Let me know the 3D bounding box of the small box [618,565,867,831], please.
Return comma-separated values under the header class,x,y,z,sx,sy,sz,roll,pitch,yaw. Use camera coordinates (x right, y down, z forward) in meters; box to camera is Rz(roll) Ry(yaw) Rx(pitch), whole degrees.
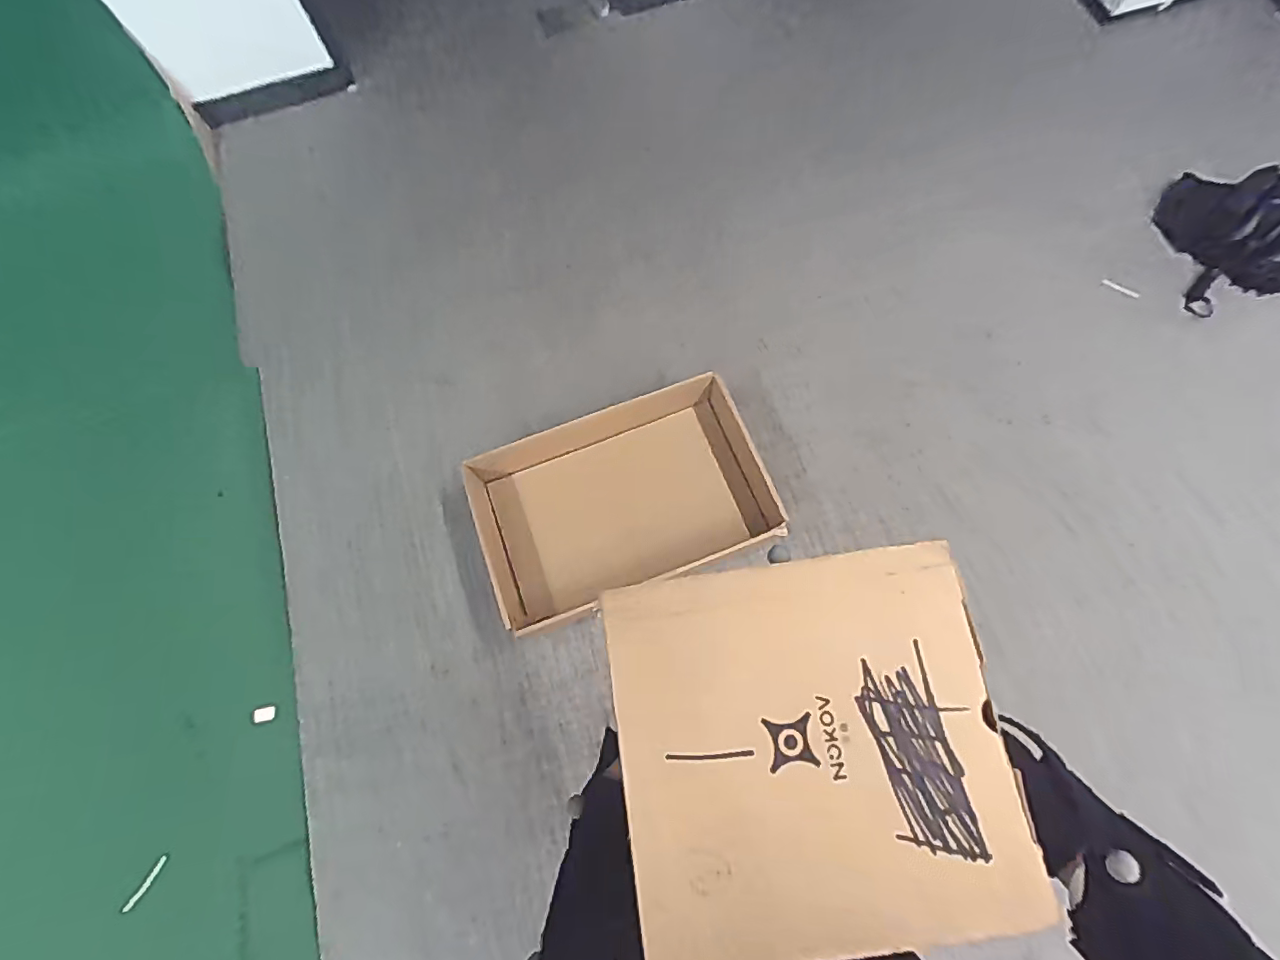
class,x,y,z,sx,sy,sz,roll,pitch,yaw
small box,0.080,0.186,0.496,0.168,0.176,0.179,-10,72,0
